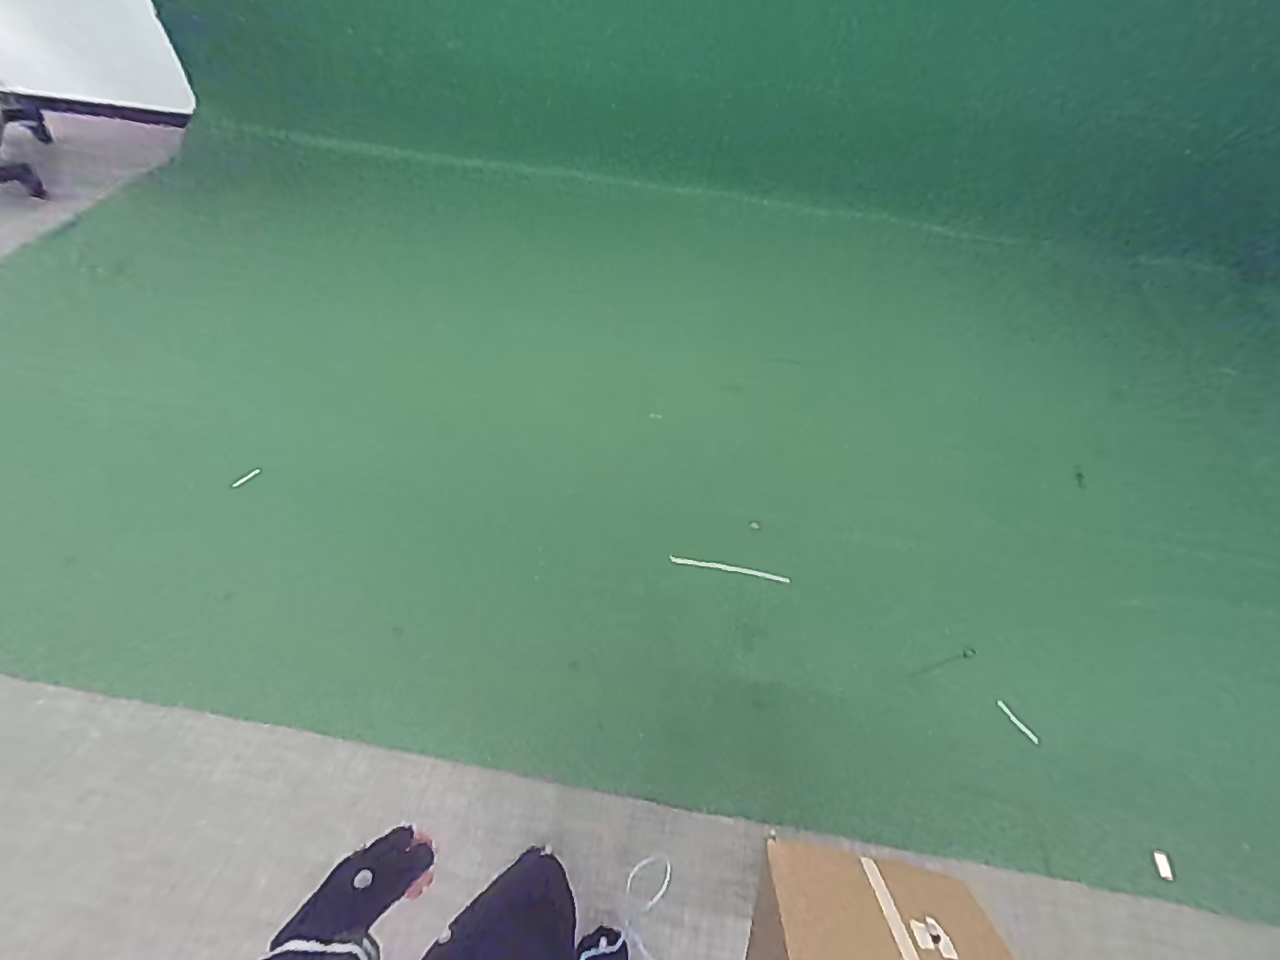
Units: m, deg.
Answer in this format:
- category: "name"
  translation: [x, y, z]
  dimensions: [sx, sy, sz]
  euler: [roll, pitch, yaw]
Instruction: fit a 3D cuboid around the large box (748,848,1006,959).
- category: "large box"
  translation: [0.315, 0.772, 0.674]
  dimensions: [0.320, 0.408, 0.320]
  euler: [10, 94, 5]
